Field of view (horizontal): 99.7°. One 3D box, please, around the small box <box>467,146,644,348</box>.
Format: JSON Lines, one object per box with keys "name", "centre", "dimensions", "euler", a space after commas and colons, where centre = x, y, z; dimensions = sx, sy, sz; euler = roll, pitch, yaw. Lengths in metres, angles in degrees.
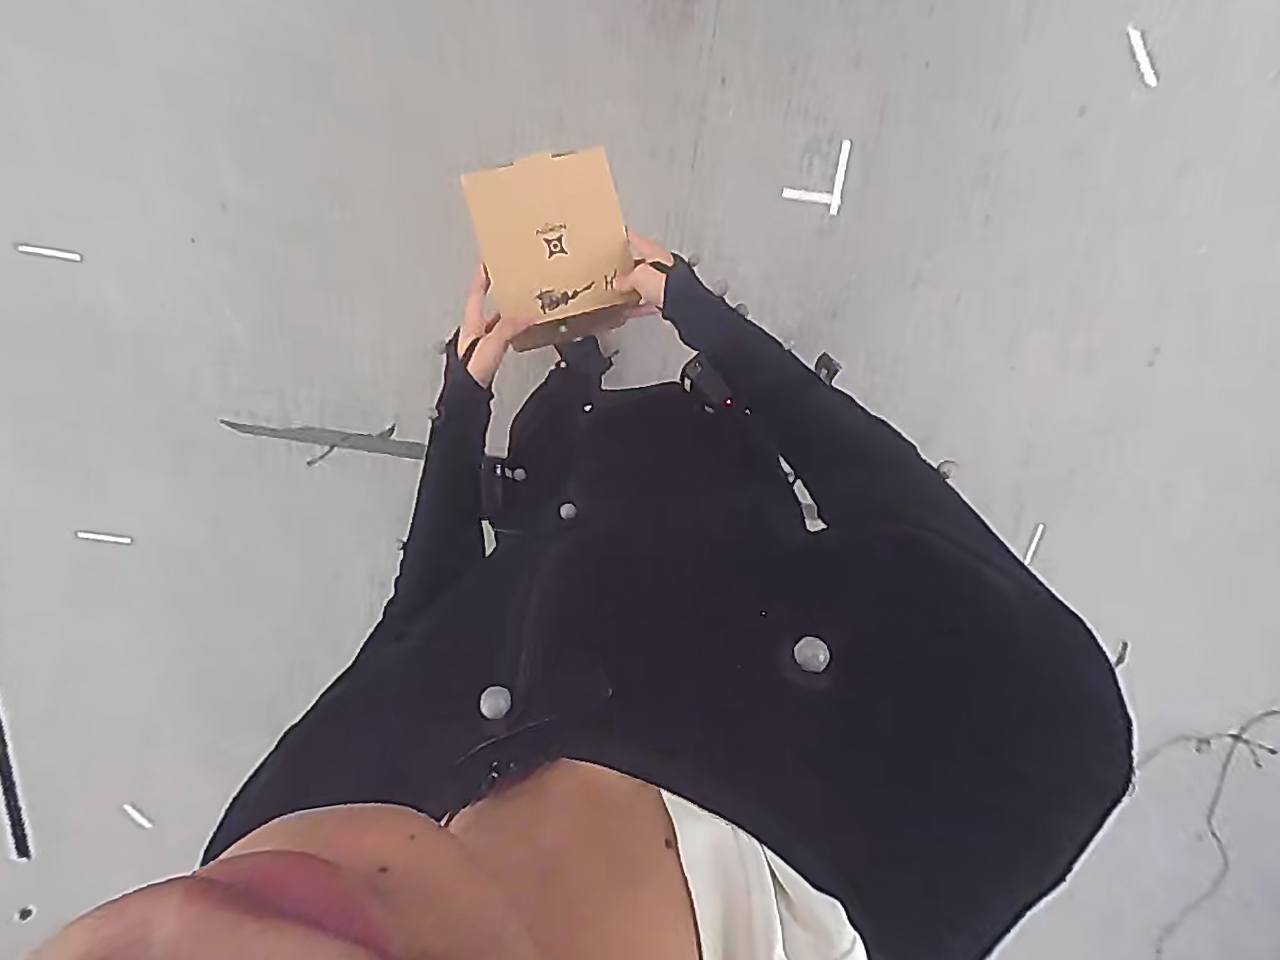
{"name": "small box", "centre": [-0.106, -0.281, 0.687], "dimensions": [0.168, 0.176, 0.179], "euler": [-16, 98, -7]}
